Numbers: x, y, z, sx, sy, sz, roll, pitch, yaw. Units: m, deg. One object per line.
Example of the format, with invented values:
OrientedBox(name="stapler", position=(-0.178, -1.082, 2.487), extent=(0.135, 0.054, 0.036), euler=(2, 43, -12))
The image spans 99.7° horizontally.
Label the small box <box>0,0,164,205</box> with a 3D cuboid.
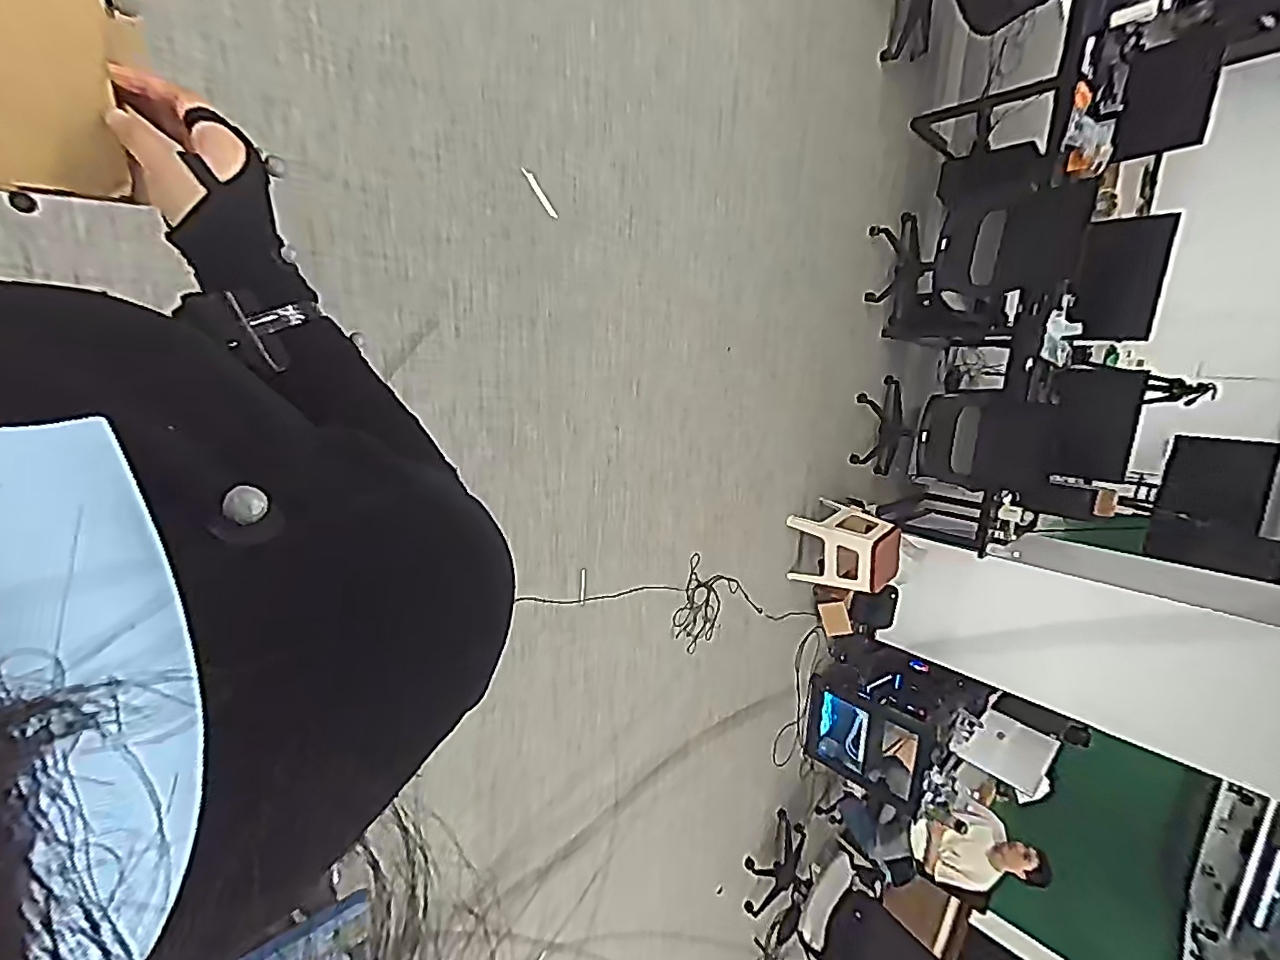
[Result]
OrientedBox(name="small box", position=(-0.453, -0.298, 0.369), extent=(0.168, 0.176, 0.179), euler=(-8, 117, -34))
